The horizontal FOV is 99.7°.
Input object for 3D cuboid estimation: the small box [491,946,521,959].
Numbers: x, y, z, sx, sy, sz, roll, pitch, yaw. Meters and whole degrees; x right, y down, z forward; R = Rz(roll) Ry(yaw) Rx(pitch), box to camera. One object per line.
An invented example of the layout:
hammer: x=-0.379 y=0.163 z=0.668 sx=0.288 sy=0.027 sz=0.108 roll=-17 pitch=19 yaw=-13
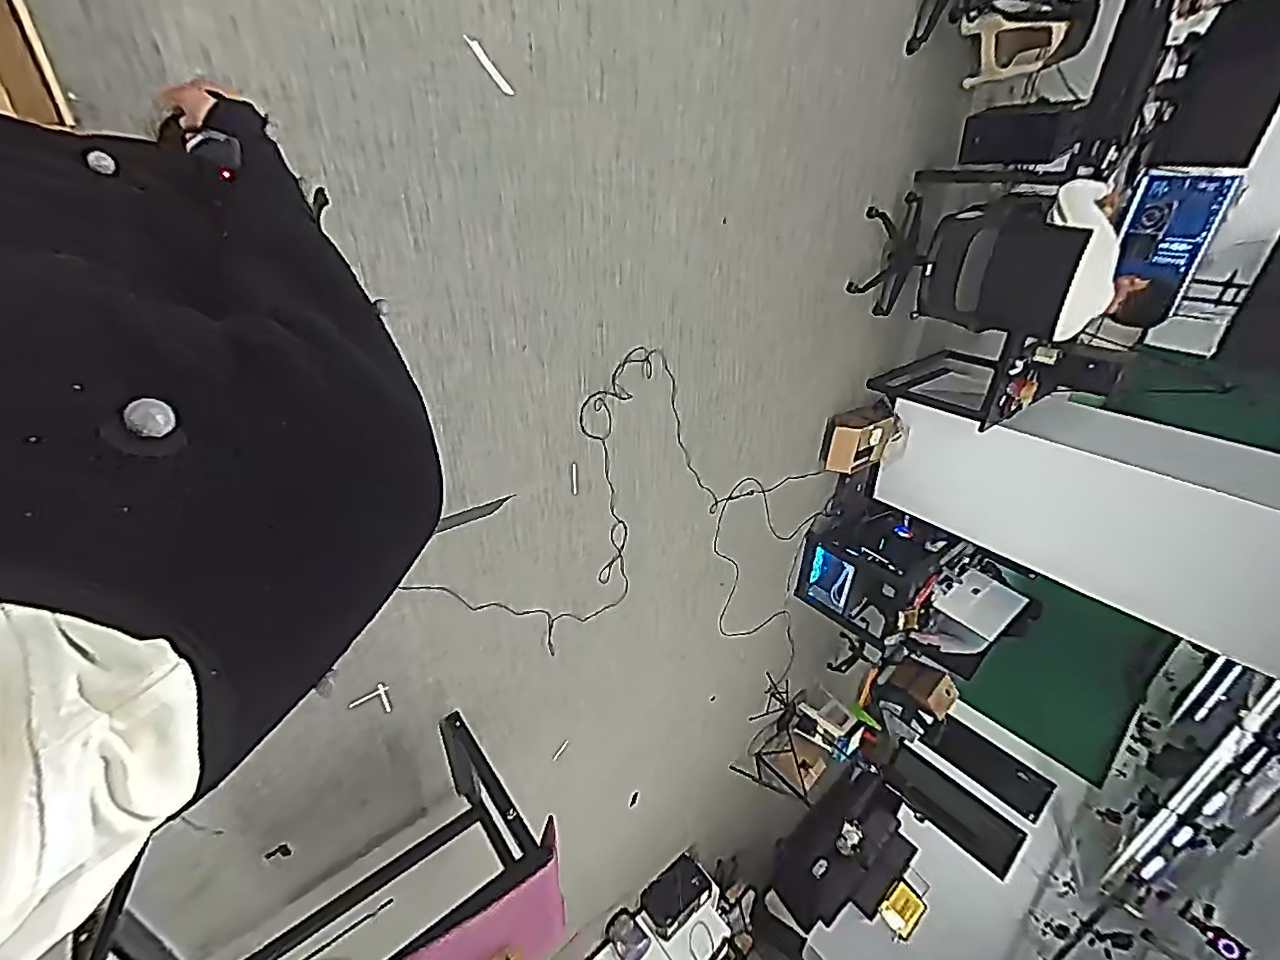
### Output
small box: x=-0.453 y=1.695 z=1.774 sx=0.168 sy=0.176 sz=0.179 roll=-15 pitch=123 yaw=-38
